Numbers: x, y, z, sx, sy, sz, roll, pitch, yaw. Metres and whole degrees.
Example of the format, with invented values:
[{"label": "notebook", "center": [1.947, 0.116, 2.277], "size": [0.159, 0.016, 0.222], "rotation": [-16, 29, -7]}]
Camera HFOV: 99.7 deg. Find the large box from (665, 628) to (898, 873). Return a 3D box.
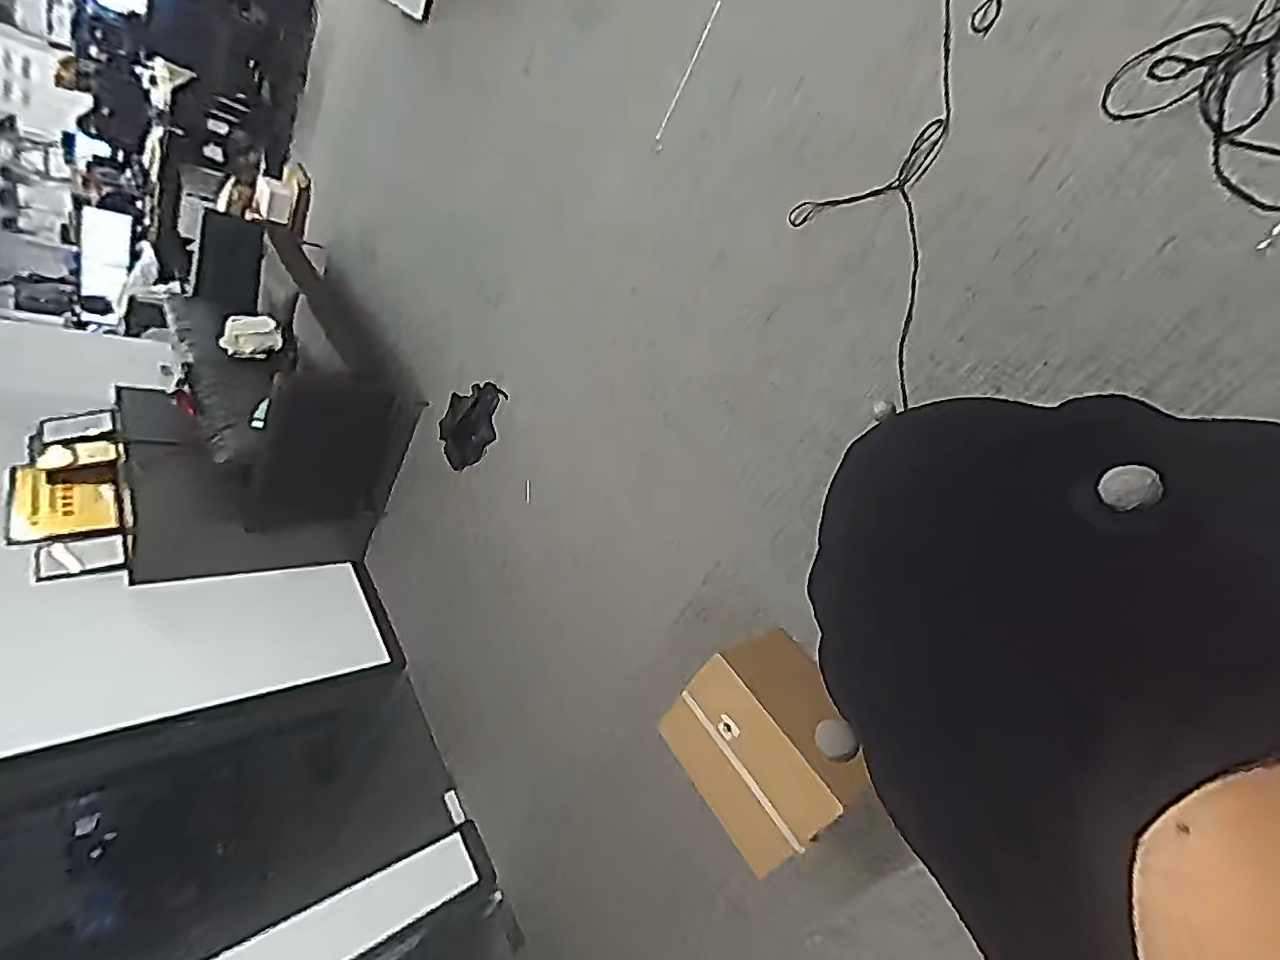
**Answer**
[{"label": "large box", "center": [0.346, 0.648, 1.362], "size": [0.408, 0.320, 0.320], "rotation": [49, 120, 33]}]
